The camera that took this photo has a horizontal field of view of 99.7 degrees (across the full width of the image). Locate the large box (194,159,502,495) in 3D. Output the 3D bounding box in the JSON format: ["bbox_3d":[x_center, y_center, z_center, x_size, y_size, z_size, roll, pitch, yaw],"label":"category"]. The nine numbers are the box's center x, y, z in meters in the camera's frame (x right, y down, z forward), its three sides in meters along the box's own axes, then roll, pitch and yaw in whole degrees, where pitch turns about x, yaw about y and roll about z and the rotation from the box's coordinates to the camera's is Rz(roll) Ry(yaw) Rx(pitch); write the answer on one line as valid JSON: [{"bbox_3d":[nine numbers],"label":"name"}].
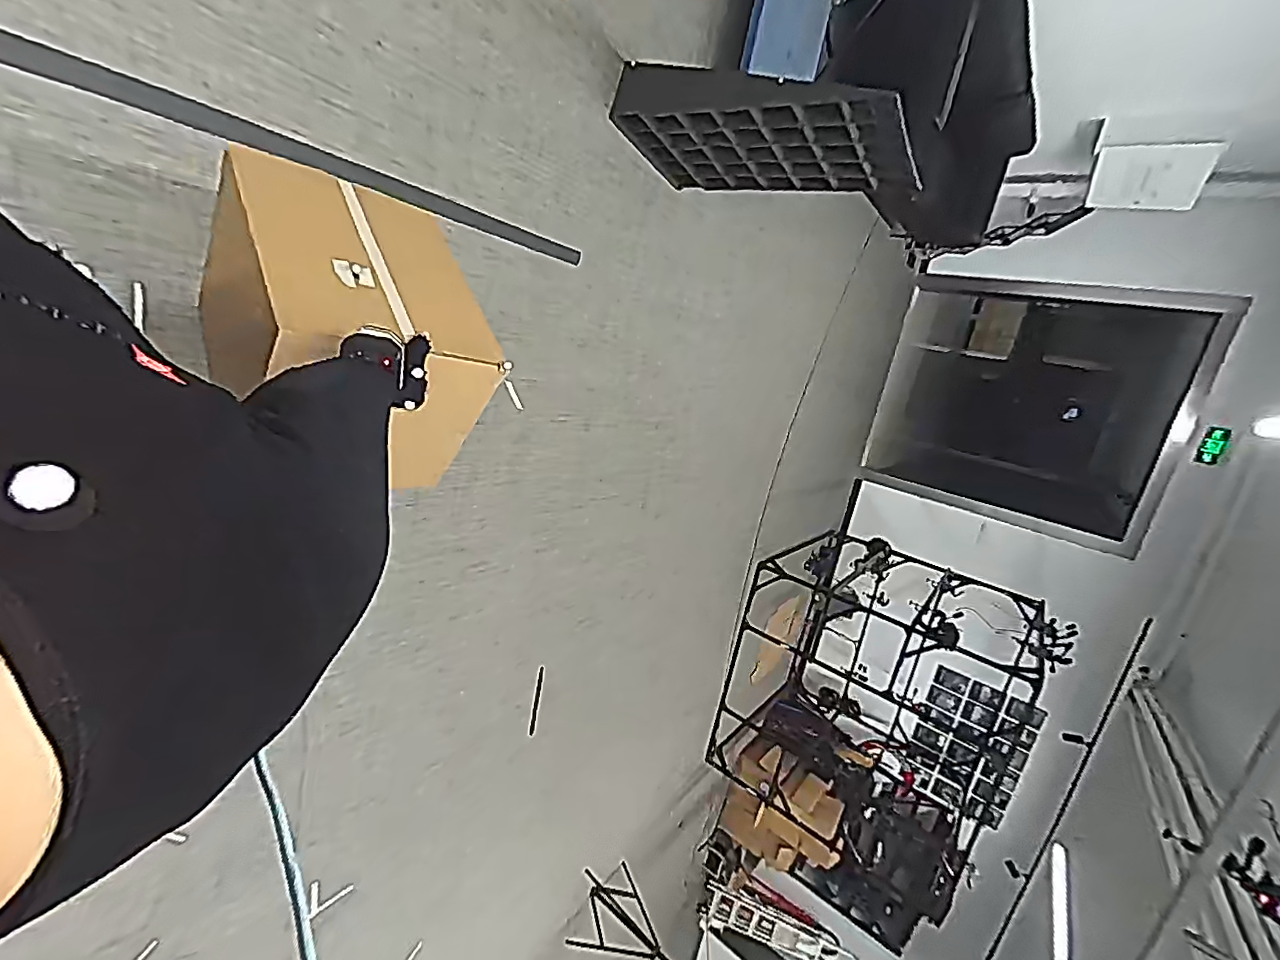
[{"bbox_3d":[-0.501,-0.227,0.906,0.320,0.408,0.320,-2,144,-48],"label":"large box"}]
